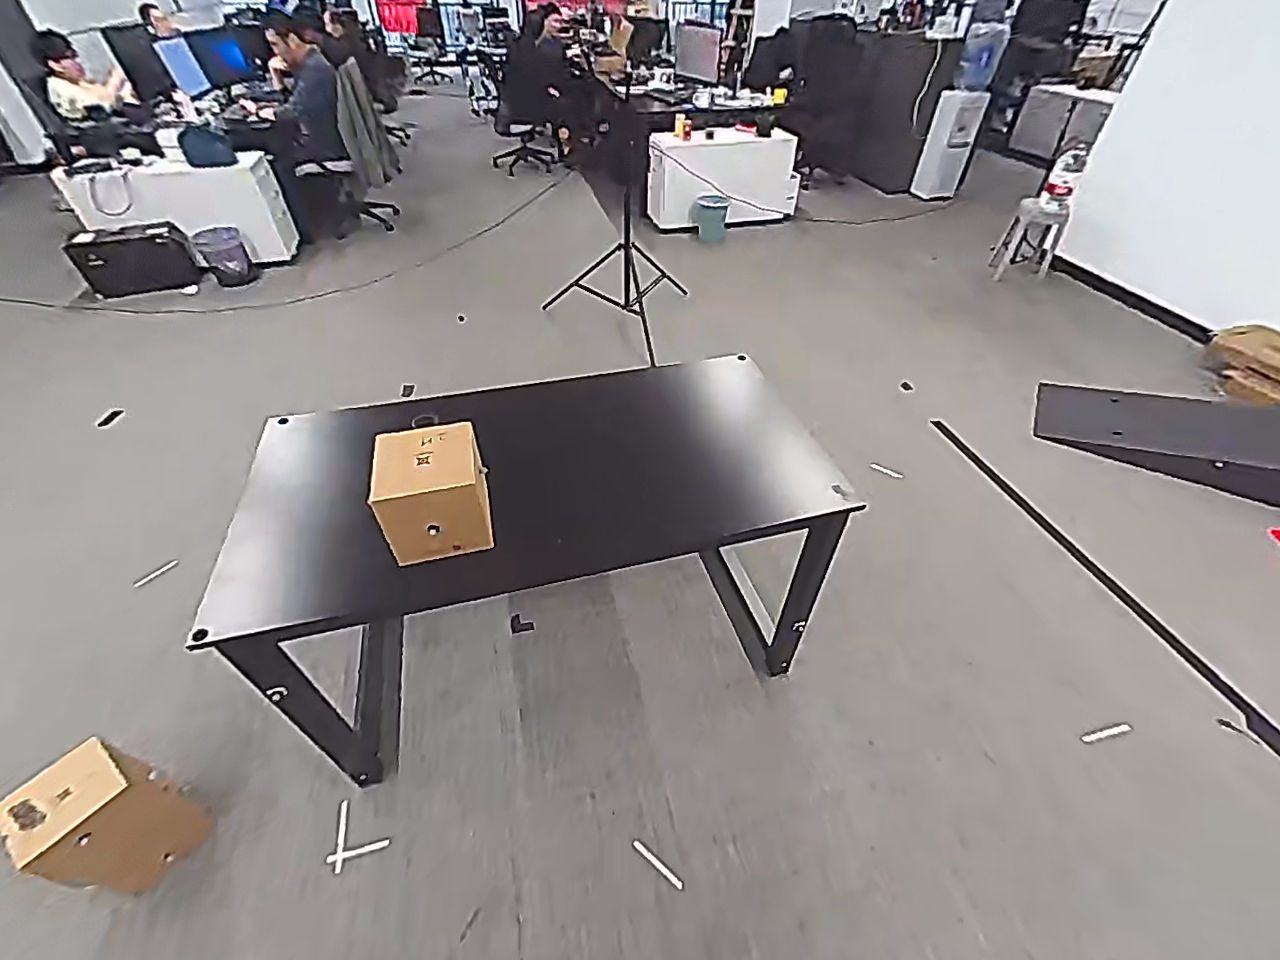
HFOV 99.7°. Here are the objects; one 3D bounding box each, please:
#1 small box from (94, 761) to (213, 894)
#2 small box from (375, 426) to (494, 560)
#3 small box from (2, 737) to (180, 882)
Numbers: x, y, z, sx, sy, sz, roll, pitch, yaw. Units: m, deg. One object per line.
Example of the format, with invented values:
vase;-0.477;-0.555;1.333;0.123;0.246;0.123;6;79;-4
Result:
small box;-1.128;0.793;1.235;0.168;0.176;0.179;25;48;24
small box;-0.368;0.029;0.991;0.168;0.176;0.179;-10;44;-12
small box;-1.118;0.680;1.114;0.168;0.176;0.179;27;49;24
